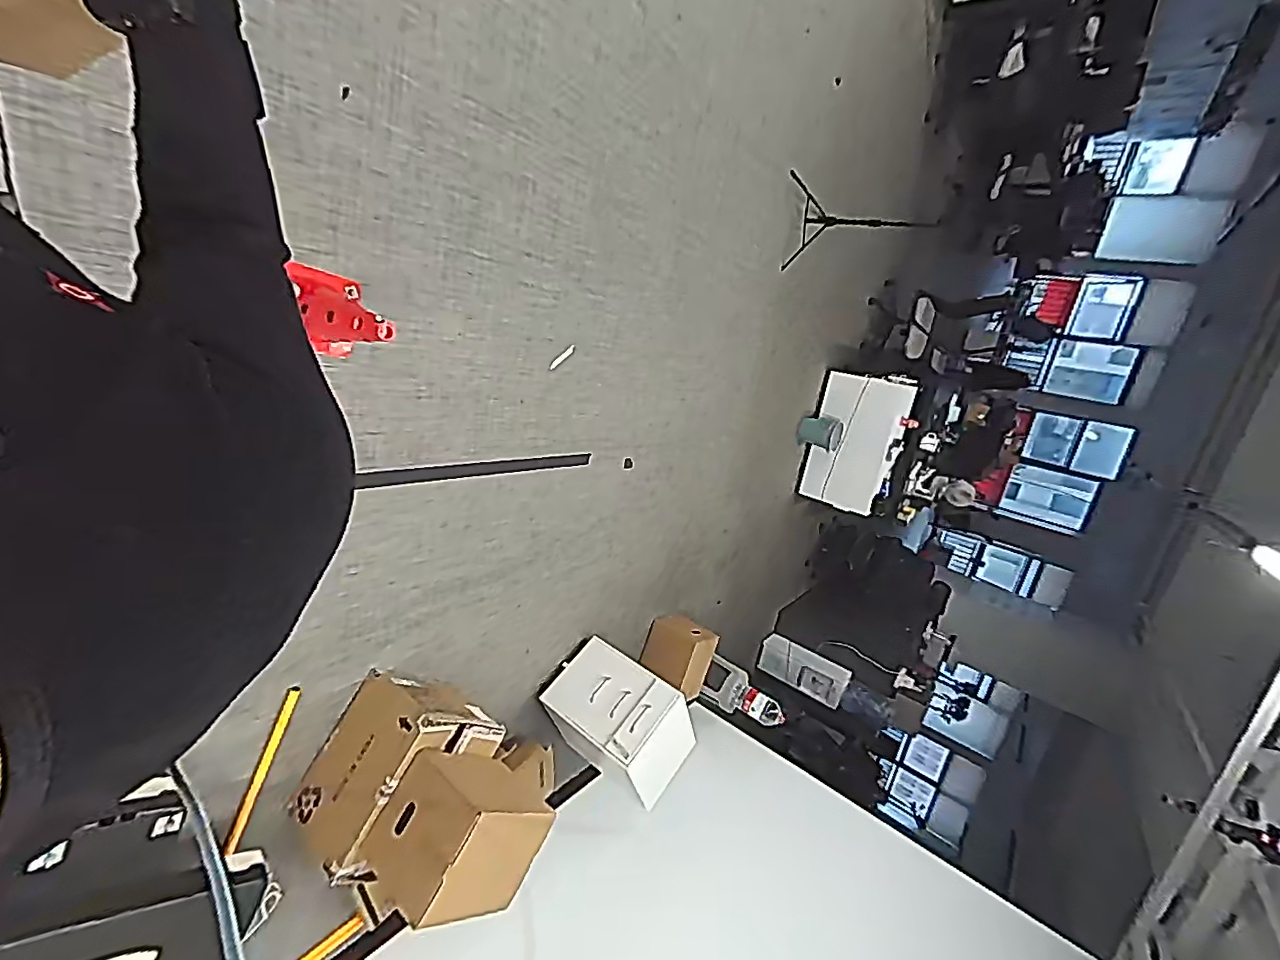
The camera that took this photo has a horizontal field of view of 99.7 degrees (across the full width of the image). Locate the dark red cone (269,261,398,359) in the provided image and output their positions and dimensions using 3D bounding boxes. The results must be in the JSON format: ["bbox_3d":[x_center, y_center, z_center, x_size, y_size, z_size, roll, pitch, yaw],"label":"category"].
[{"bbox_3d":[-0.658,-0.354,1.219,0.201,0.394,0.202,1,106,-53],"label":"dark red cone"}]

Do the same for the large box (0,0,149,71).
[{"bbox_3d":[-0.555,-0.467,0.252,0.408,0.320,0.320,-15,119,-52],"label":"large box"}]
